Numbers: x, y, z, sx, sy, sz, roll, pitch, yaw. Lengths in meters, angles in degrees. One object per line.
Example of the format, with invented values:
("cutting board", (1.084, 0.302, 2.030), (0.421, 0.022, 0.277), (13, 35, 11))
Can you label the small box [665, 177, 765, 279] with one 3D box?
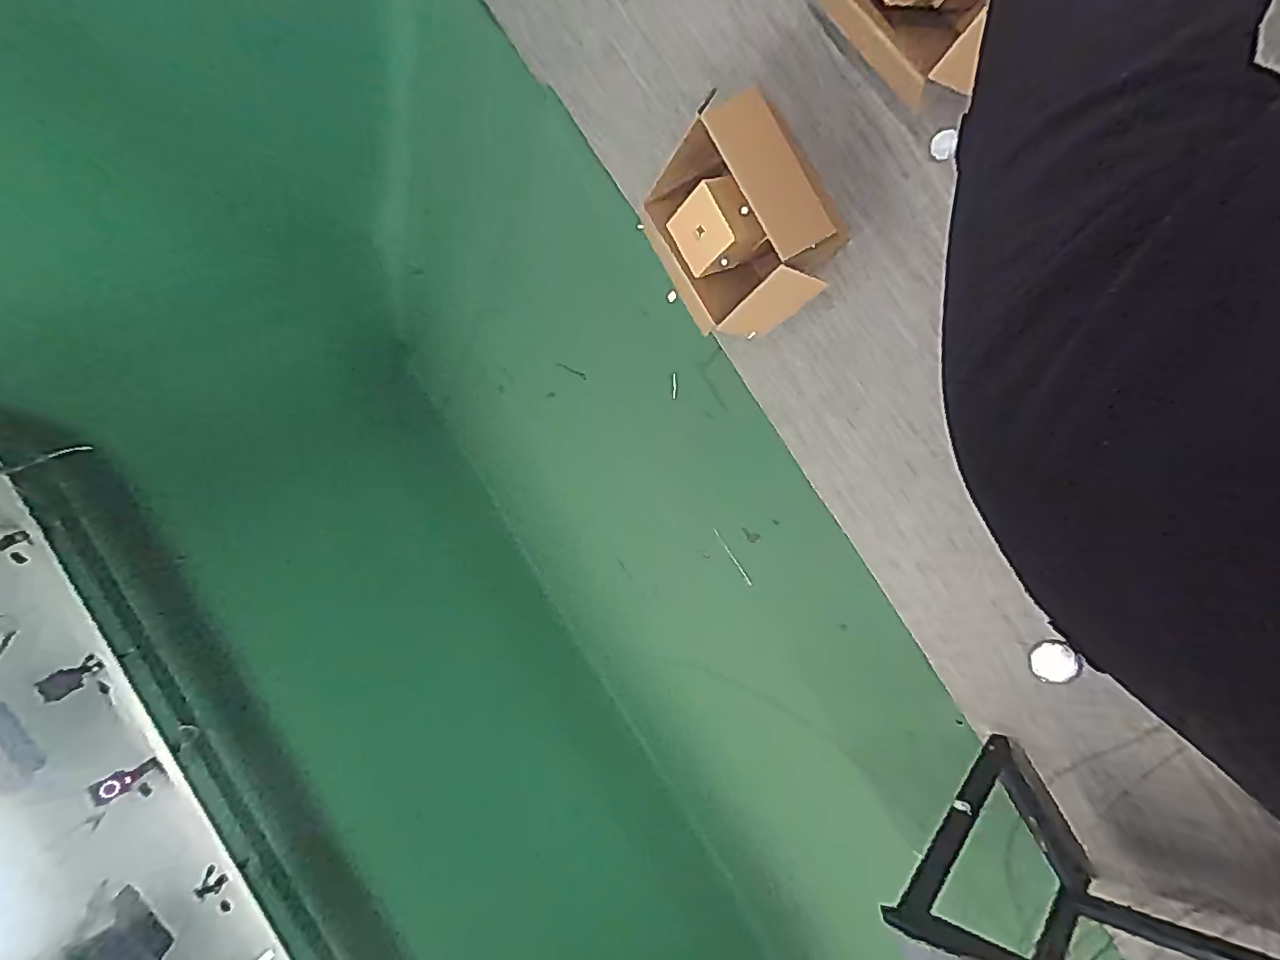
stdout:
("small box", (0.204, -0.667, 1.427), (0.168, 0.176, 0.179), (60, 147, -1))
